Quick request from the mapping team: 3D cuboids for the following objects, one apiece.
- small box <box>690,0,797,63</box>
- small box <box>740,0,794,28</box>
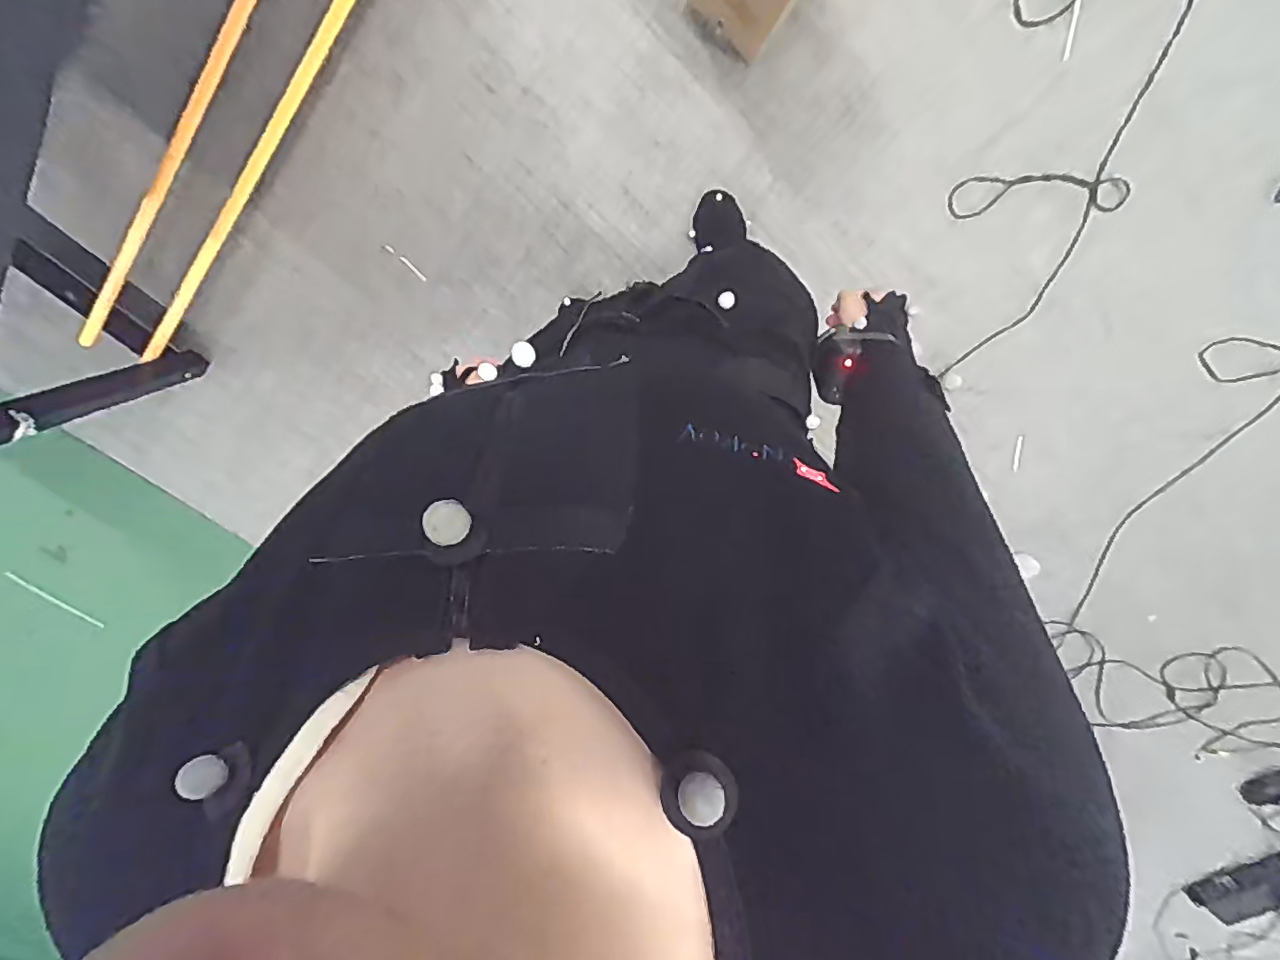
[{"bbox_3d":[0.196,-0.868,0.920,0.168,0.176,0.179,35,112,-13],"label":"small box"},{"bbox_3d":[0.198,-0.805,0.768,0.168,0.176,0.179,36,111,-14],"label":"small box"}]
